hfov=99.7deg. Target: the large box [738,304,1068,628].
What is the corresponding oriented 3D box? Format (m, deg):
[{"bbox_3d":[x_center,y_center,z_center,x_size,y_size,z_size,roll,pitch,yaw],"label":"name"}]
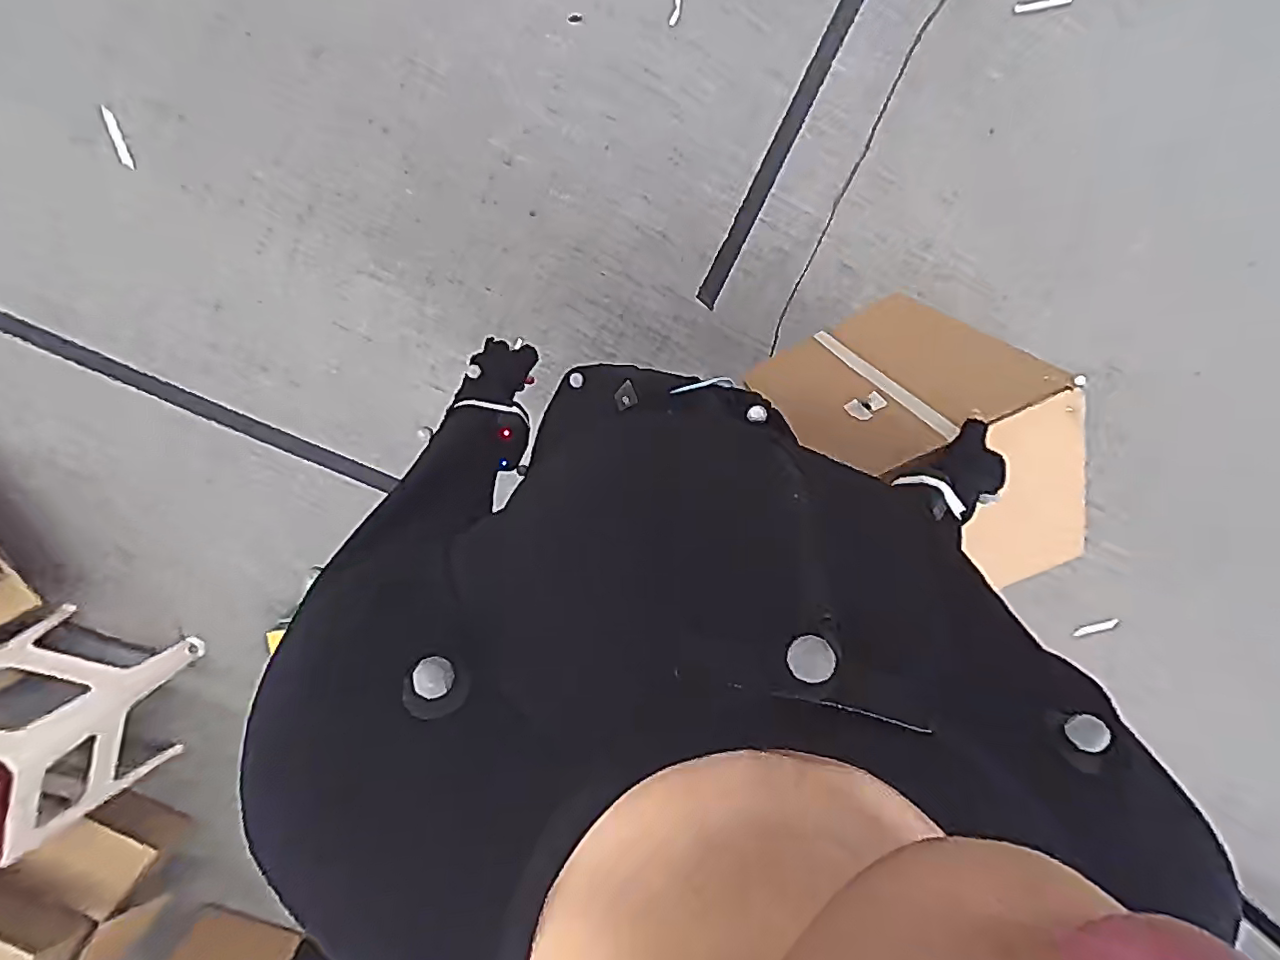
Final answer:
[{"bbox_3d":[0.410,-0.040,0.913,0.320,0.408,0.320,-26,124,8],"label":"large box"}]
